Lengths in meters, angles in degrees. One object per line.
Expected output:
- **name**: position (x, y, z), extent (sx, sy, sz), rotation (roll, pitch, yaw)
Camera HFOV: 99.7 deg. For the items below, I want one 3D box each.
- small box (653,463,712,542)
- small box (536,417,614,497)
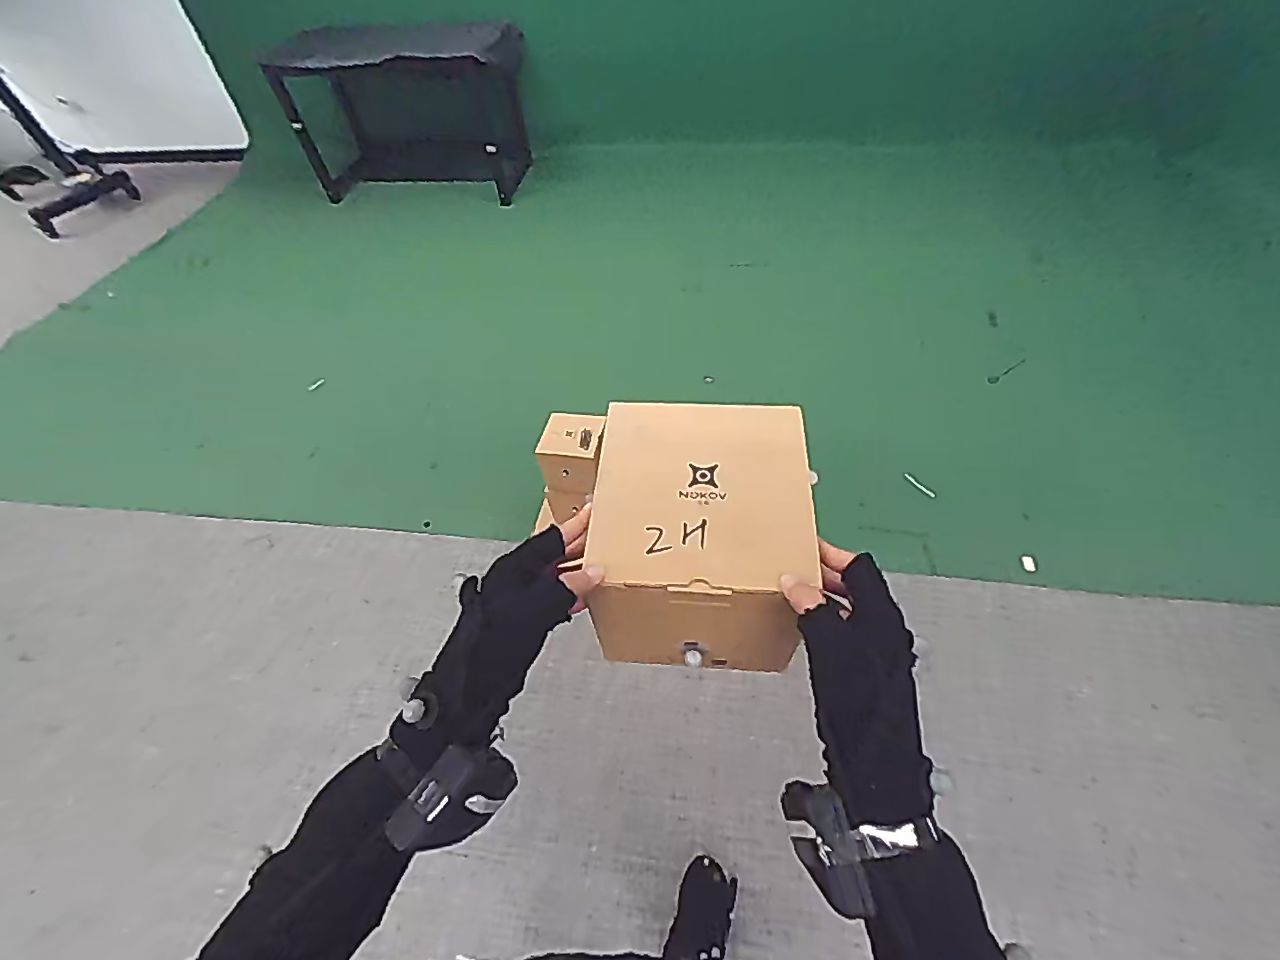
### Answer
- **small box**: position (0.134, 0.070, 1.687), extent (0.168, 0.176, 0.179), rotation (4, 52, 8)
- **small box**: position (-0.184, -0.067, 1.610), extent (0.179, 0.176, 0.168), rotation (6, 51, 13)
